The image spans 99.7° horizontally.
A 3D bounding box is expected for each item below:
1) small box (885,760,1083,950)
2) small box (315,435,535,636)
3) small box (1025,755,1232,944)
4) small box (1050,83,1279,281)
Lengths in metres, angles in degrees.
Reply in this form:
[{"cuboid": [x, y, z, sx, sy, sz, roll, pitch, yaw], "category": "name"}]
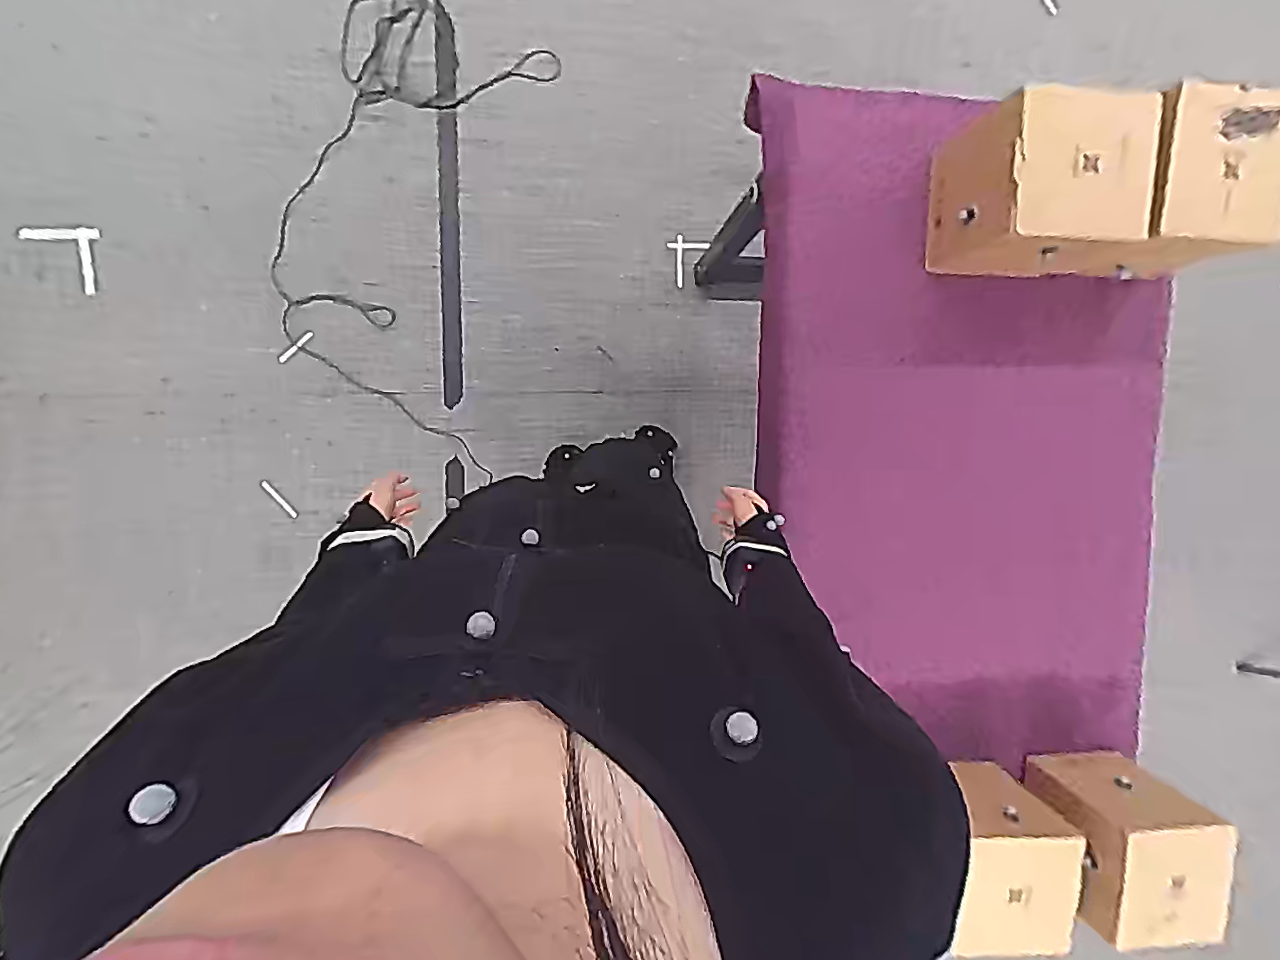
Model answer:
[{"cuboid": [0.489, 0.536, 0.794, 0.179, 0.176, 0.168, 4, 94, -8], "category": "small box"}, {"cuboid": [-0.276, 0.061, 0.706, 0.179, 0.168, 0.176, -38, 101, 25], "category": "small box"}, {"cuboid": [0.711, 0.536, 0.811, 0.168, 0.176, 0.179, 1, 96, -5], "category": "small box"}, {"cuboid": [0.695, -0.382, 0.723, 0.168, 0.176, 0.179, 2, 97, -5], "category": "small box"}]
